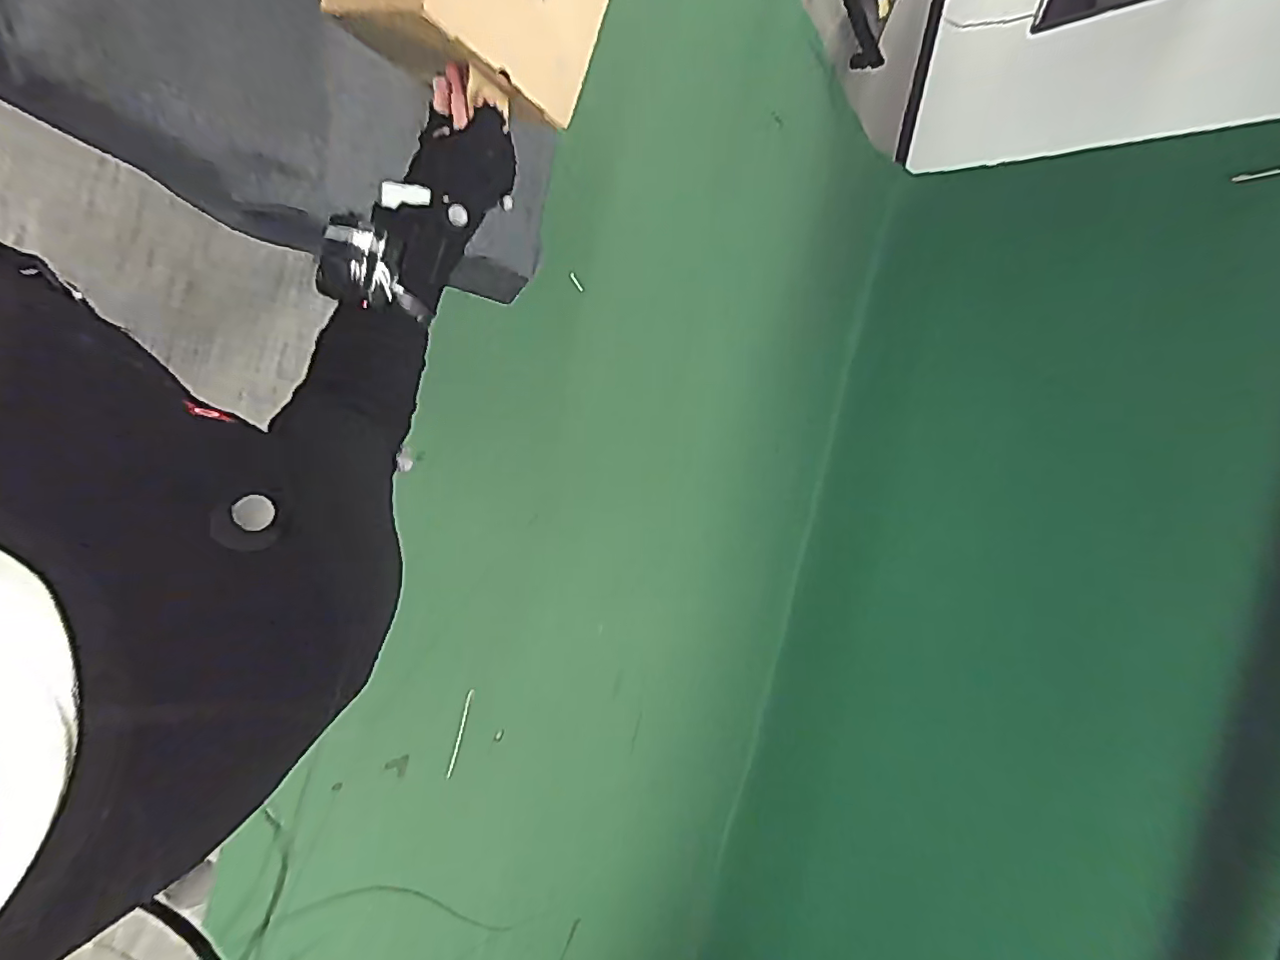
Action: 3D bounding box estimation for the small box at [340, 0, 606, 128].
[{"bbox_3d":[-0.152,-0.465,0.494,0.168,0.176,0.179,2,114,-58],"label":"small box"}]
